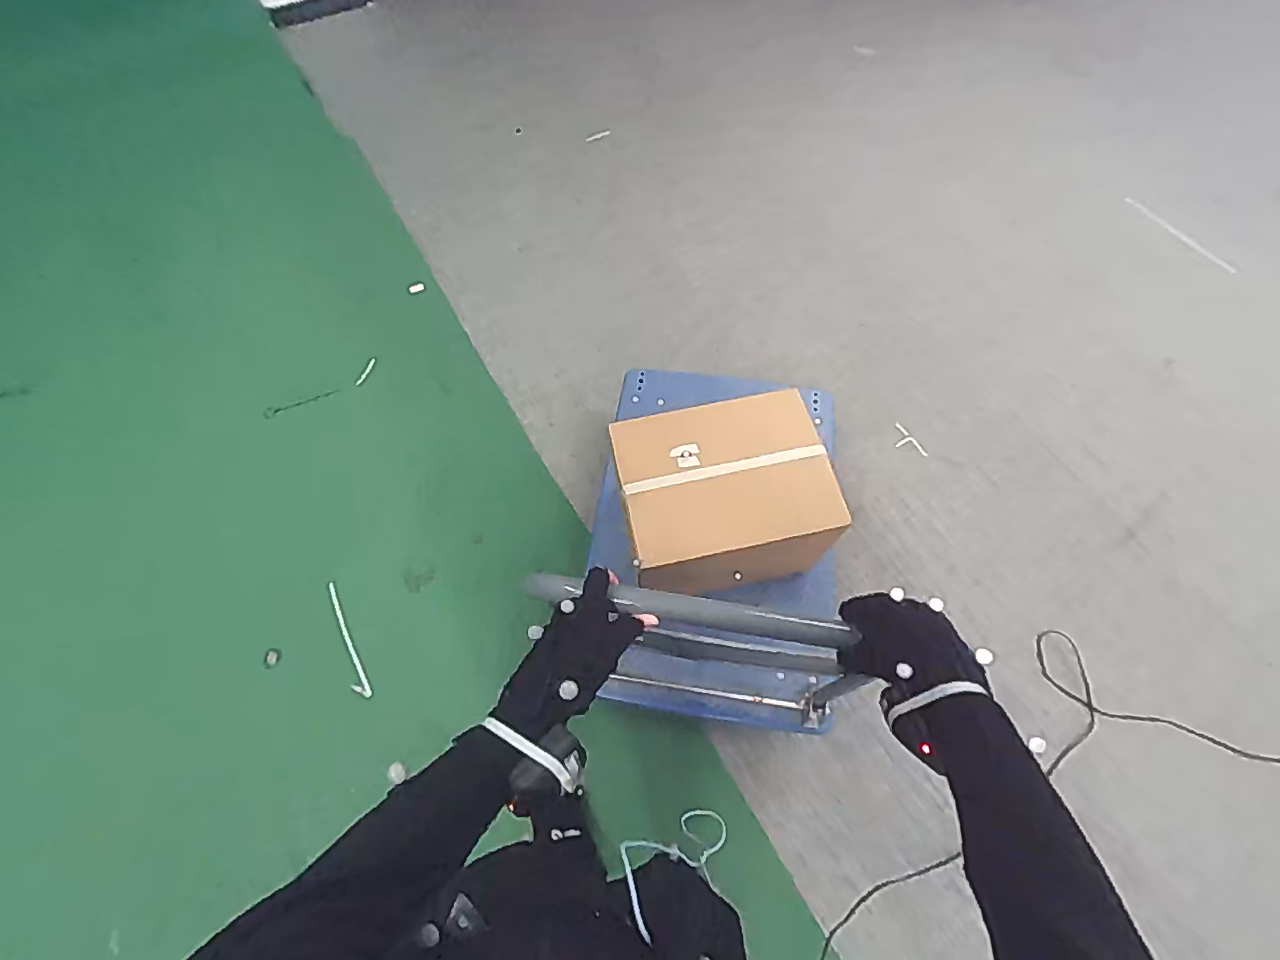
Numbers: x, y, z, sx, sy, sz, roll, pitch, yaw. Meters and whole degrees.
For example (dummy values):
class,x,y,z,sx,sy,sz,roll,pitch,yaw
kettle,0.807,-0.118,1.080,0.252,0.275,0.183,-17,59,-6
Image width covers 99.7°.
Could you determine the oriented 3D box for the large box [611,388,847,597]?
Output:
class,x,y,z,sx,sy,sz,roll,pitch,yaw
large box,0.170,0.041,1.194,0.408,0.320,0.320,-11,65,-3
